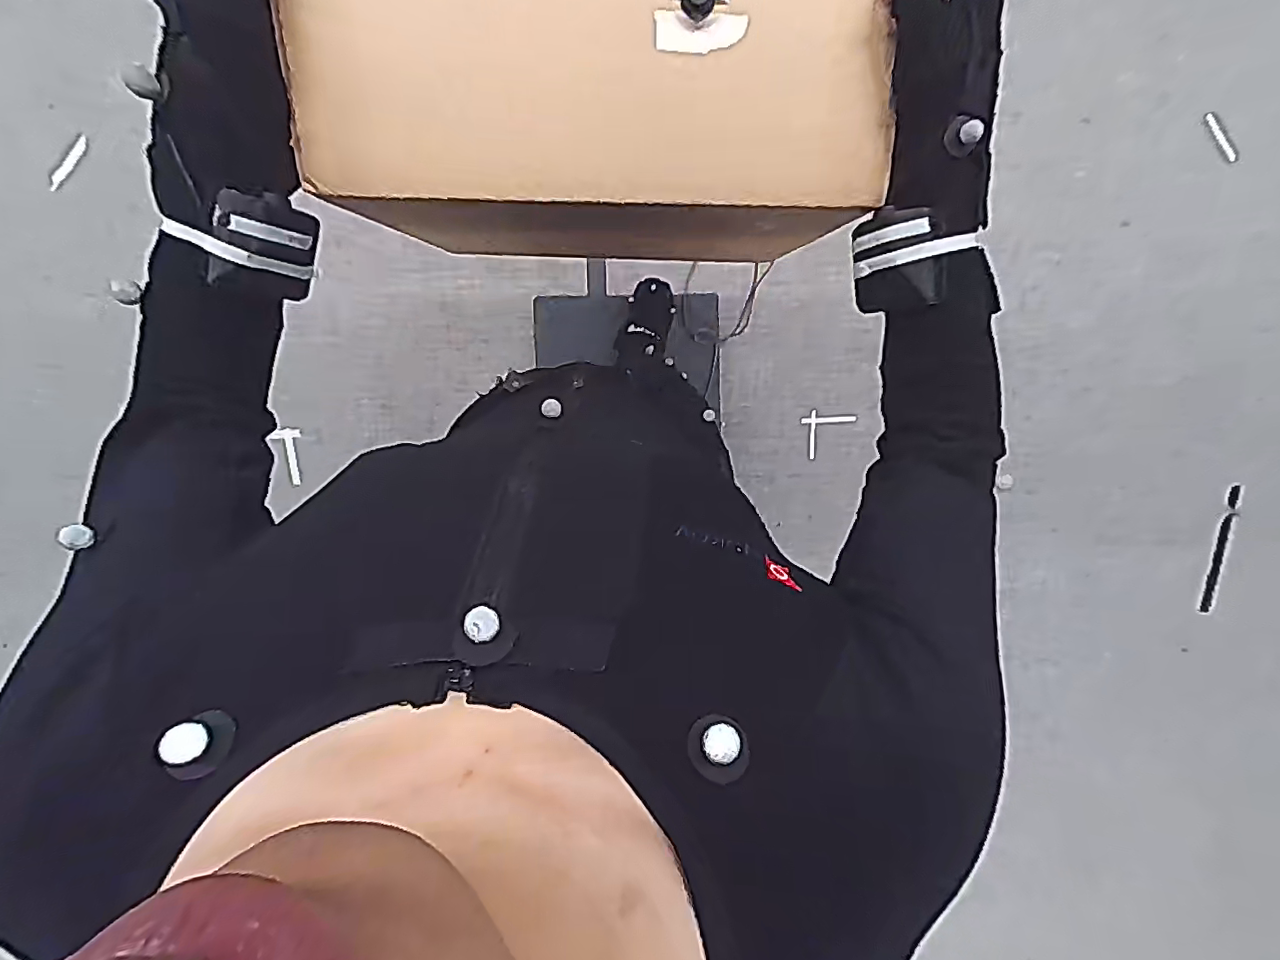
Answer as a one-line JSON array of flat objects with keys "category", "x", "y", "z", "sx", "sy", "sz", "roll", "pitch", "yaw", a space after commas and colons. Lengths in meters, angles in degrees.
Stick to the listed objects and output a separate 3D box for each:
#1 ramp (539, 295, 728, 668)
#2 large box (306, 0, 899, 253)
[{"category": "ramp", "x": -0.017, "y": 0.009, "z": 1.461, "sx": 0.509, "sy": 0.206, "sz": 0.991, "roll": -3, "pitch": 102, "yaw": 1}, {"category": "large box", "x": -0.027, "y": -0.397, "z": 0.495, "sx": 0.408, "sy": 0.320, "sz": 0.320, "roll": 0, "pitch": 106, "yaw": -2}]
